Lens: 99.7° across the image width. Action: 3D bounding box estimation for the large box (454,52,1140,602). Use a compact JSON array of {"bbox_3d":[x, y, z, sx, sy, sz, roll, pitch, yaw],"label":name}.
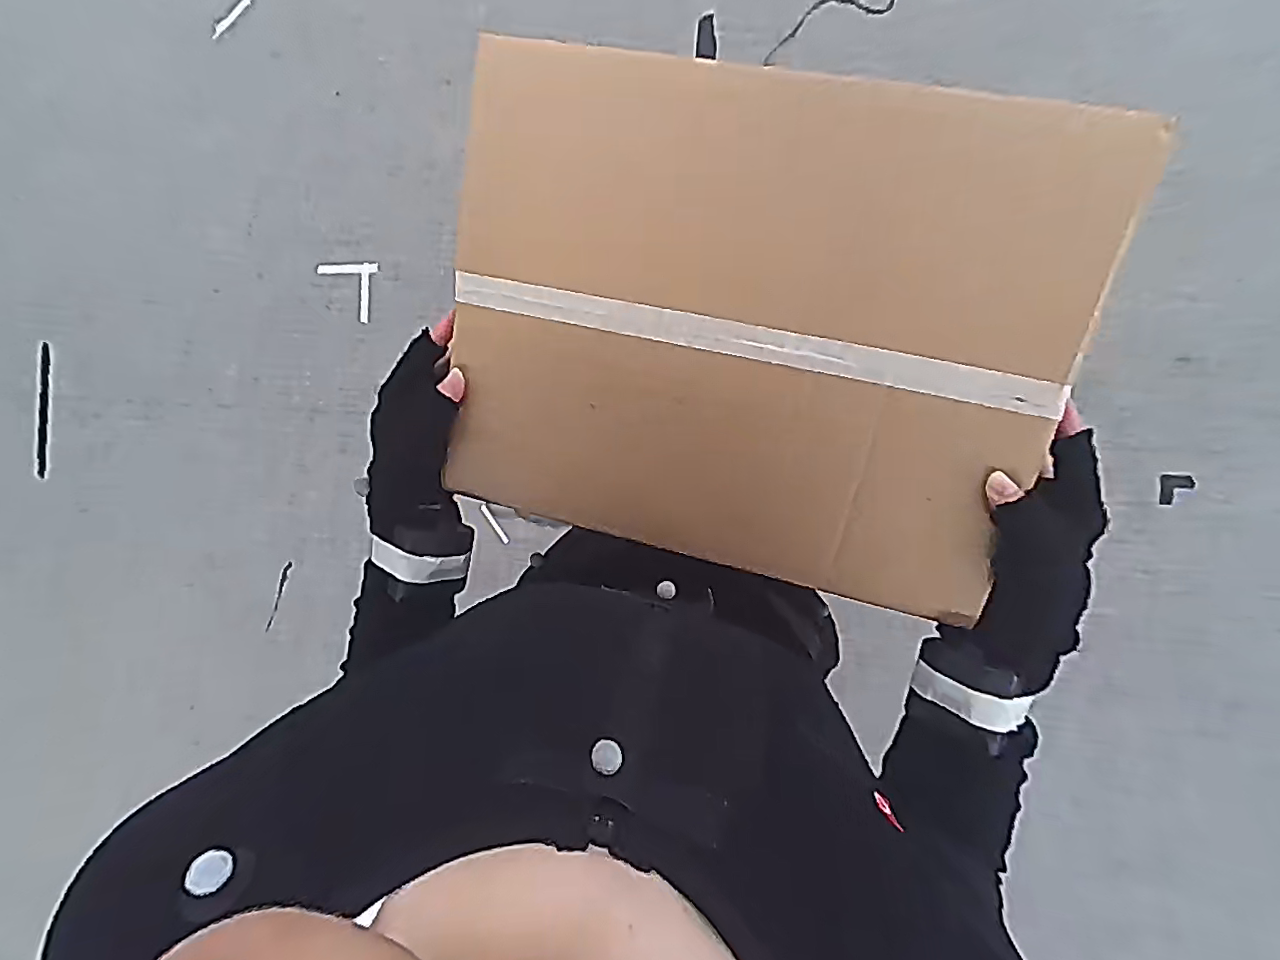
[{"bbox_3d":[0.093,-0.133,0.513,0.408,0.320,0.320,14,107,9],"label":"large box"}]
